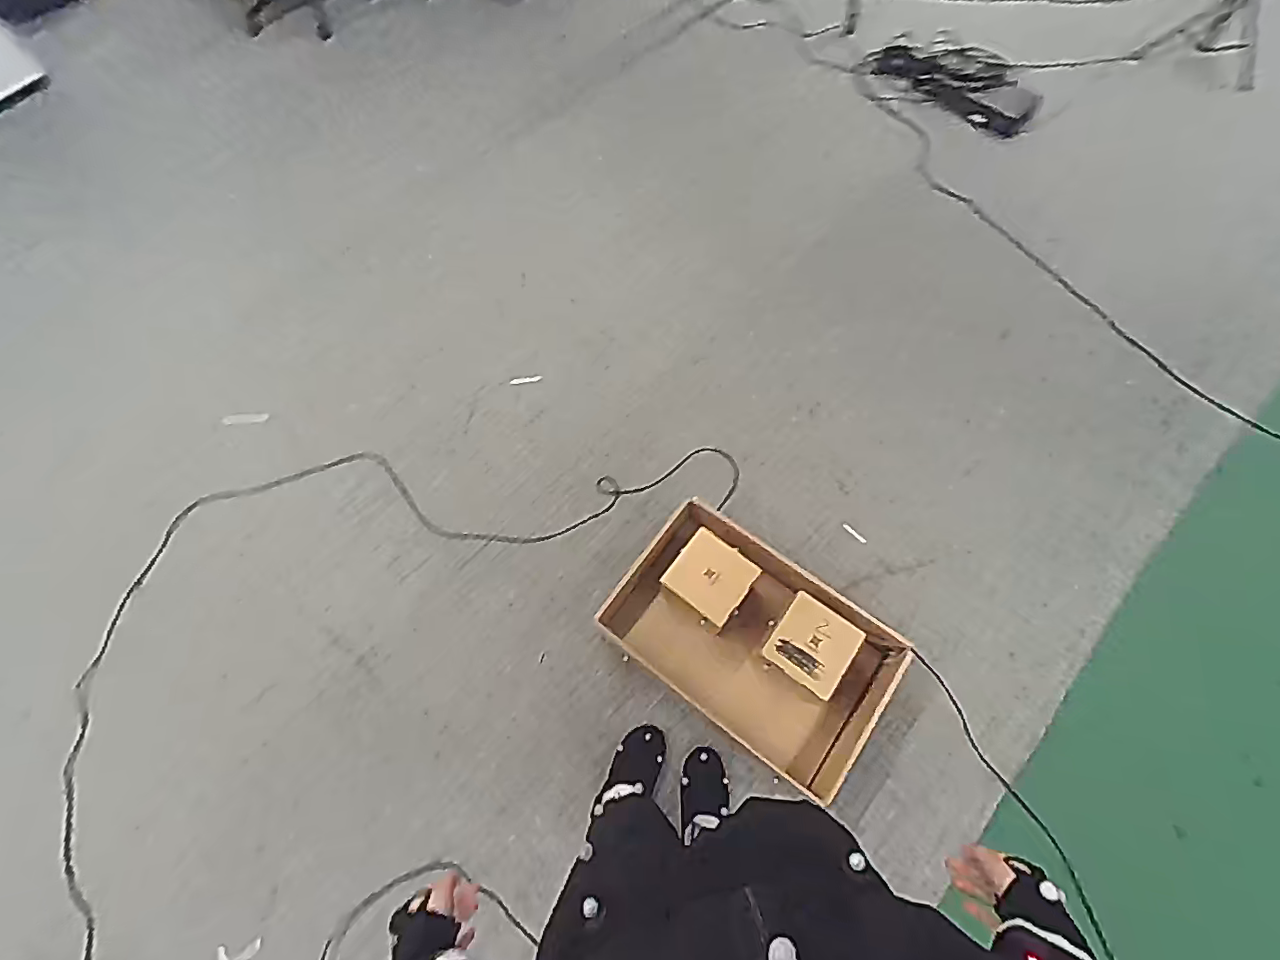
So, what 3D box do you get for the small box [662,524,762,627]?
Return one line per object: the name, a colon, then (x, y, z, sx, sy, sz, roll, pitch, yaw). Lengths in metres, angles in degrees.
small box: (0.169, 0.241, 1.319, 0.179, 0.176, 0.168, 36, 74, 15)
